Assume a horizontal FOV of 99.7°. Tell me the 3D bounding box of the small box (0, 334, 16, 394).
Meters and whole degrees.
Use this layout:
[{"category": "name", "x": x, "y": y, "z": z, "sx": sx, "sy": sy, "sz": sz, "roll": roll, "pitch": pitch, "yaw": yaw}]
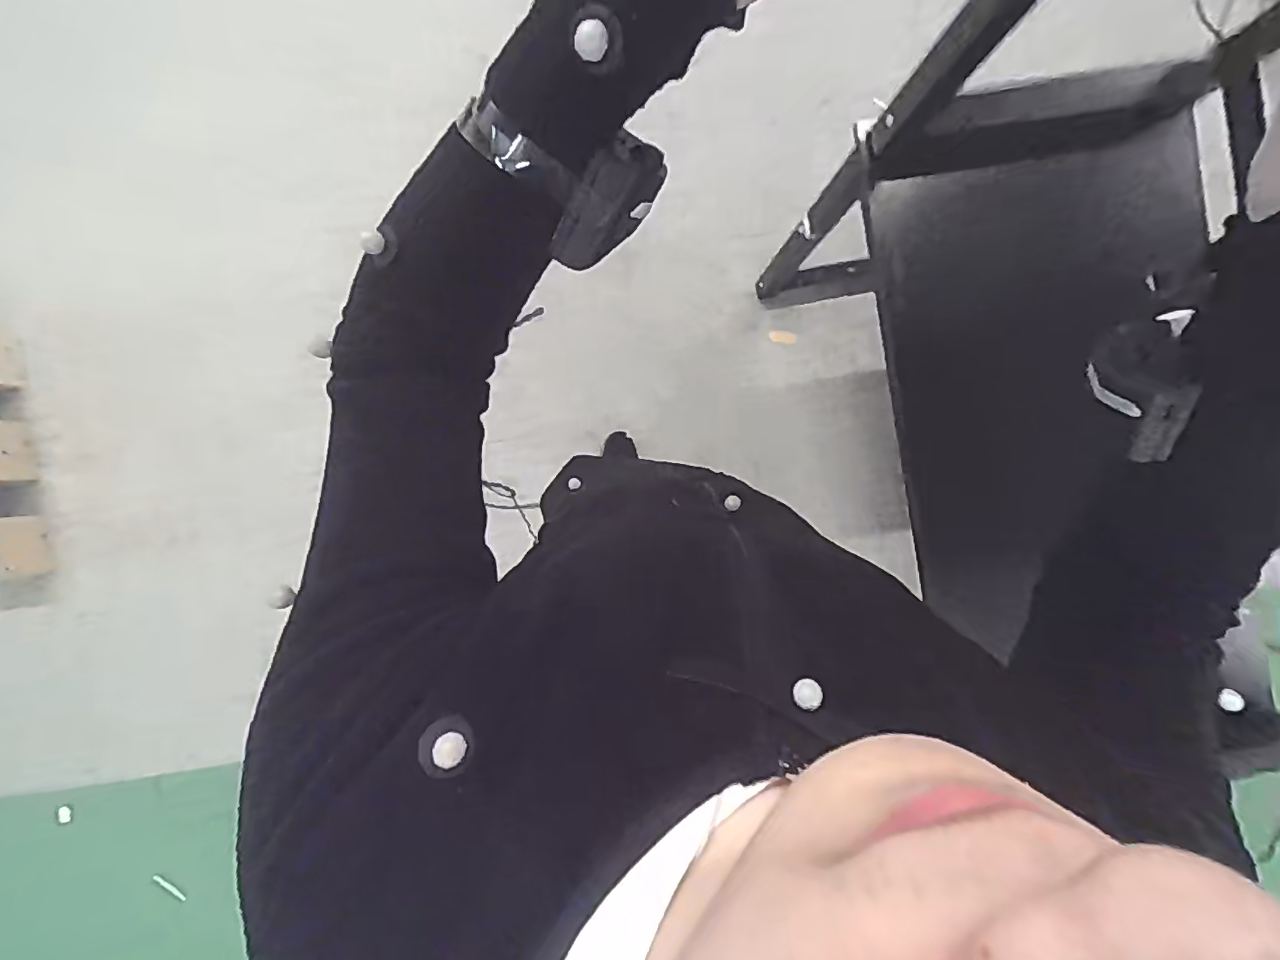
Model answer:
[{"category": "small box", "x": -1.858, "y": -0.321, "z": 1.458, "sx": 0.179, "sy": 0.176, "sz": 0.168, "roll": -9, "pitch": 91, "yaw": -2}]
